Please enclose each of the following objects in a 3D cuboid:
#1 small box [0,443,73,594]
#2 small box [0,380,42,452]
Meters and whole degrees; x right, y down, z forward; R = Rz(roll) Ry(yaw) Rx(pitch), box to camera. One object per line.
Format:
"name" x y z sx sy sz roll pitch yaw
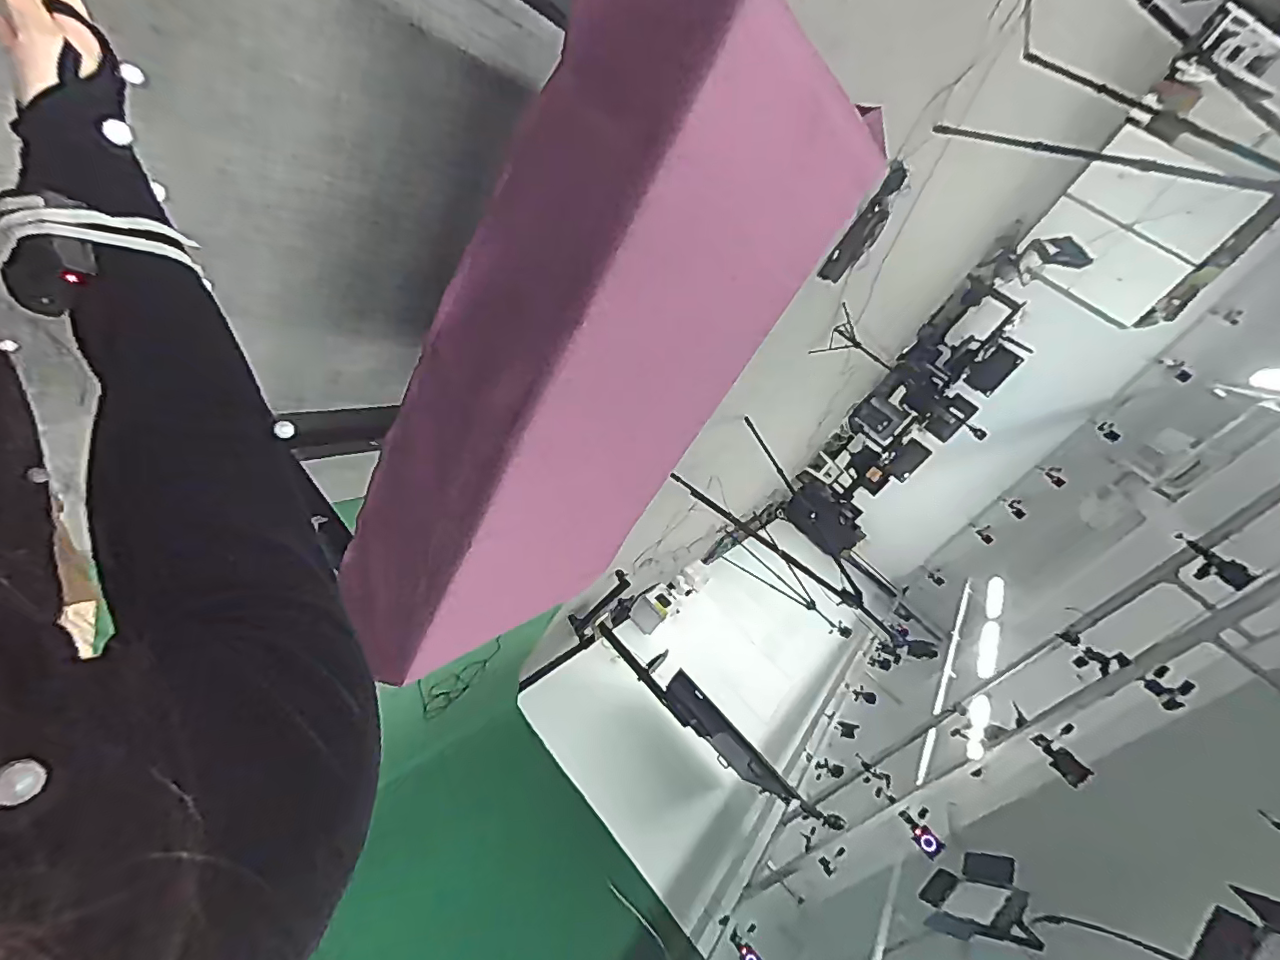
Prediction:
"small box" -0.989 0.058 0.806 0.168 0.176 0.179 -16 147 -55
"small box" -1.094 -0.057 0.853 0.179 0.176 0.168 -54 160 26
